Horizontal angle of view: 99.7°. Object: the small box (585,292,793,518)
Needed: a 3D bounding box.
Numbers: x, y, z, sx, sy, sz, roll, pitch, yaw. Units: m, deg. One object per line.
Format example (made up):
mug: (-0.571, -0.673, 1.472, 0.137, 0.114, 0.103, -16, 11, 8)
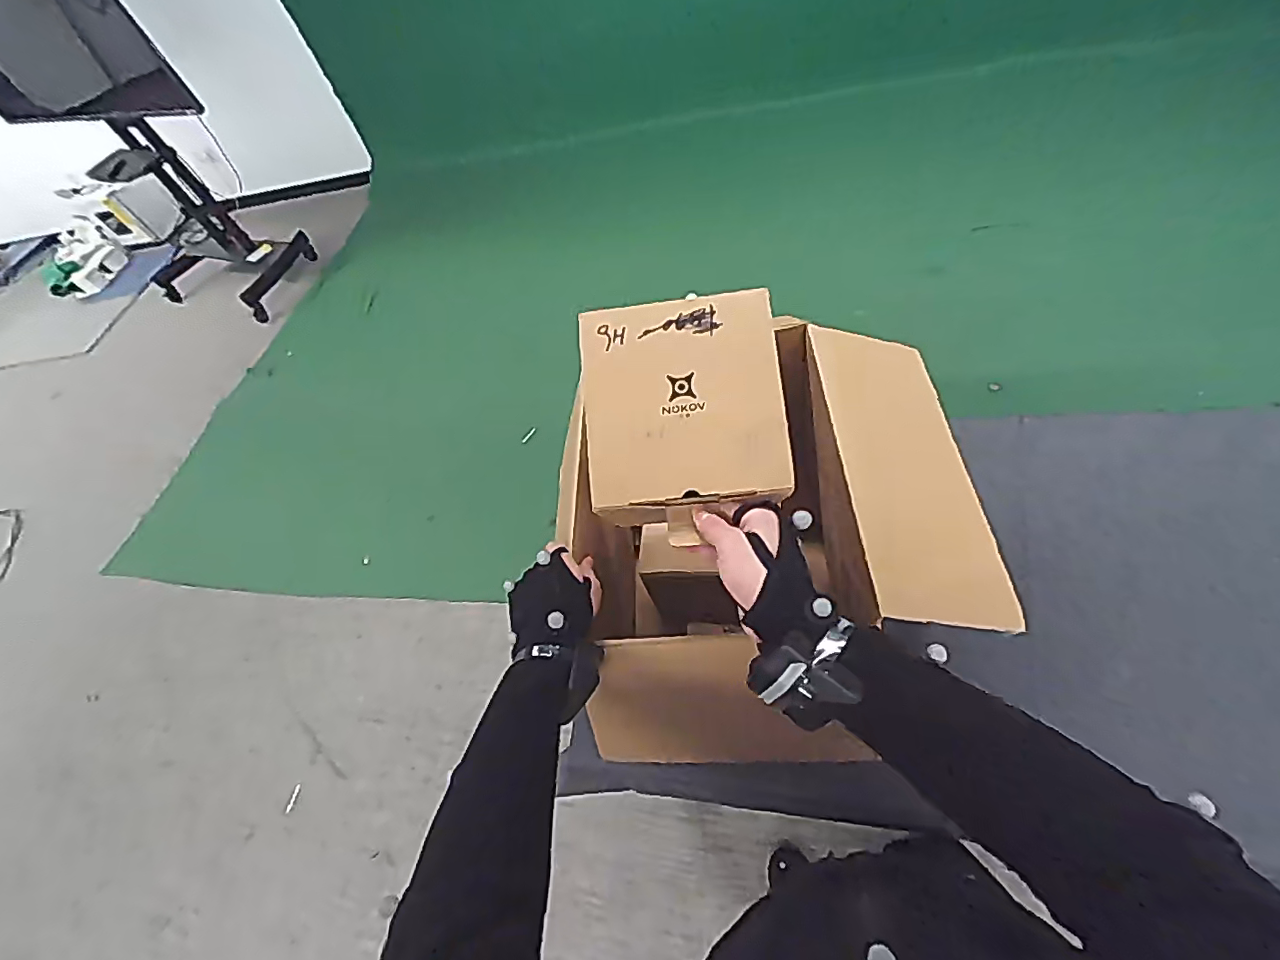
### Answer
small box: (0.048, -0.056, 0.533, 0.168, 0.176, 0.179, -6, 80, 6)
